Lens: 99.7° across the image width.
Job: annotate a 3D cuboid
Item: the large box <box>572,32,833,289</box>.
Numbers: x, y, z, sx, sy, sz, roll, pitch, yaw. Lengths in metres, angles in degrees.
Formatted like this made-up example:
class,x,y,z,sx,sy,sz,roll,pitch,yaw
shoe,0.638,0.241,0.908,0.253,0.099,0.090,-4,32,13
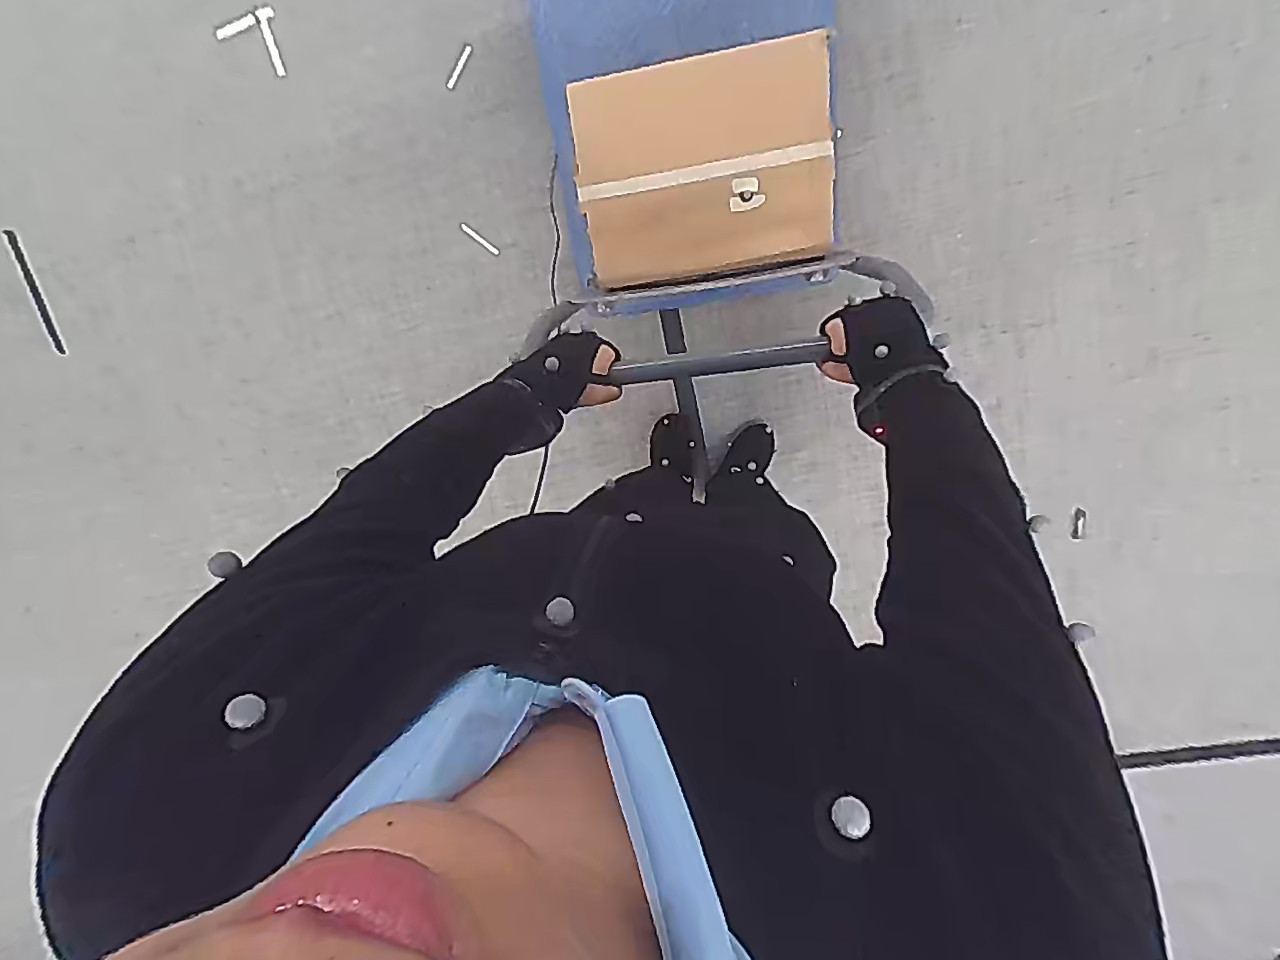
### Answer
class,x,y,z,sx,sy,sz,roll,pitch,yaw
large box,0.121,-0.562,1.031,0.408,0.320,0.320,-6,111,8
